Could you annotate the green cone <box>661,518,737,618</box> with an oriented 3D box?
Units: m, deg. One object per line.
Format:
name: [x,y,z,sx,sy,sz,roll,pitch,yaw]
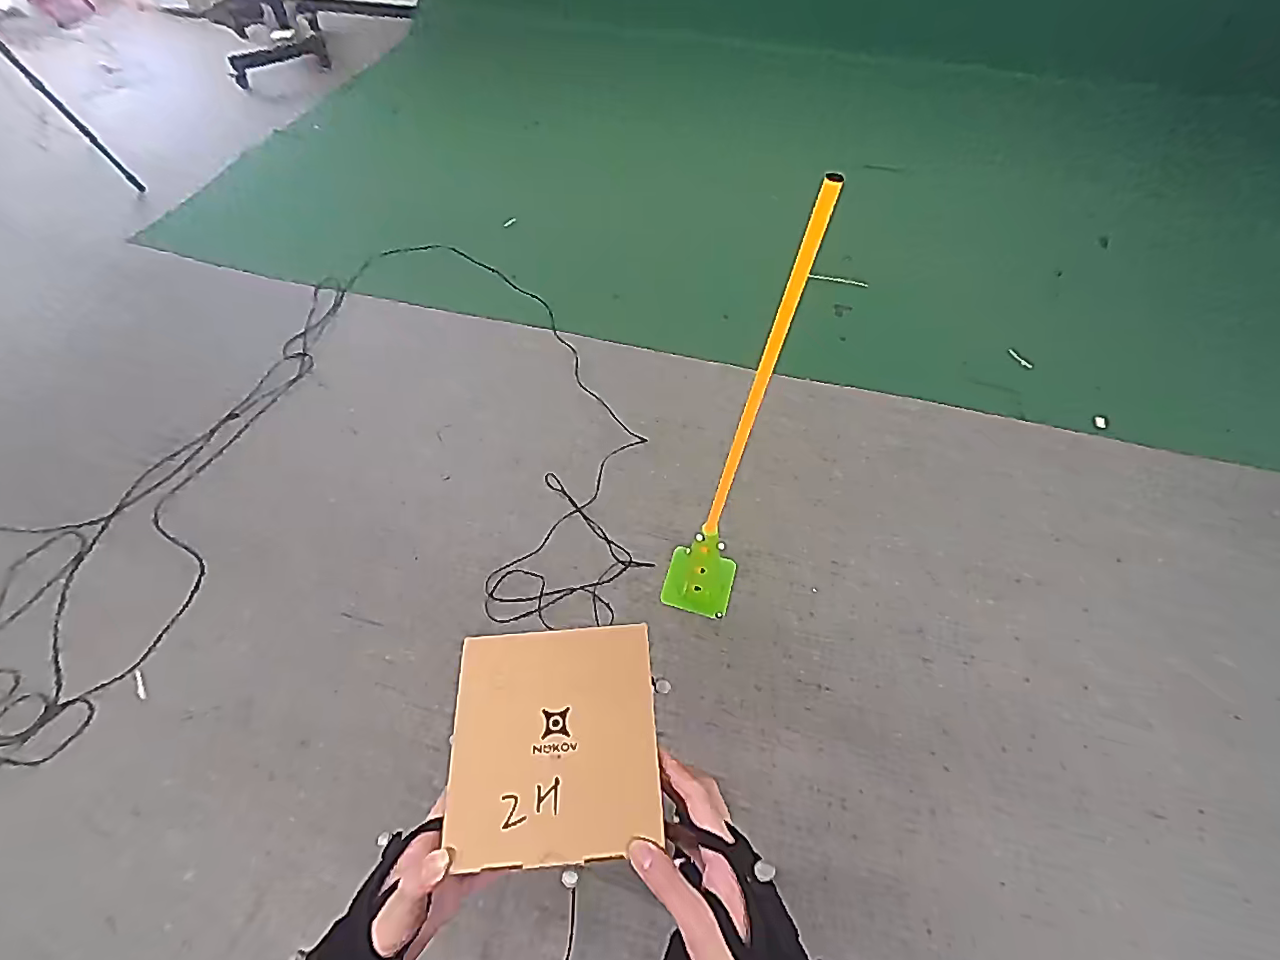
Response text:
green cone: [0.176,0.209,1.495,0.202,0.368,0.200,13,57,11]
